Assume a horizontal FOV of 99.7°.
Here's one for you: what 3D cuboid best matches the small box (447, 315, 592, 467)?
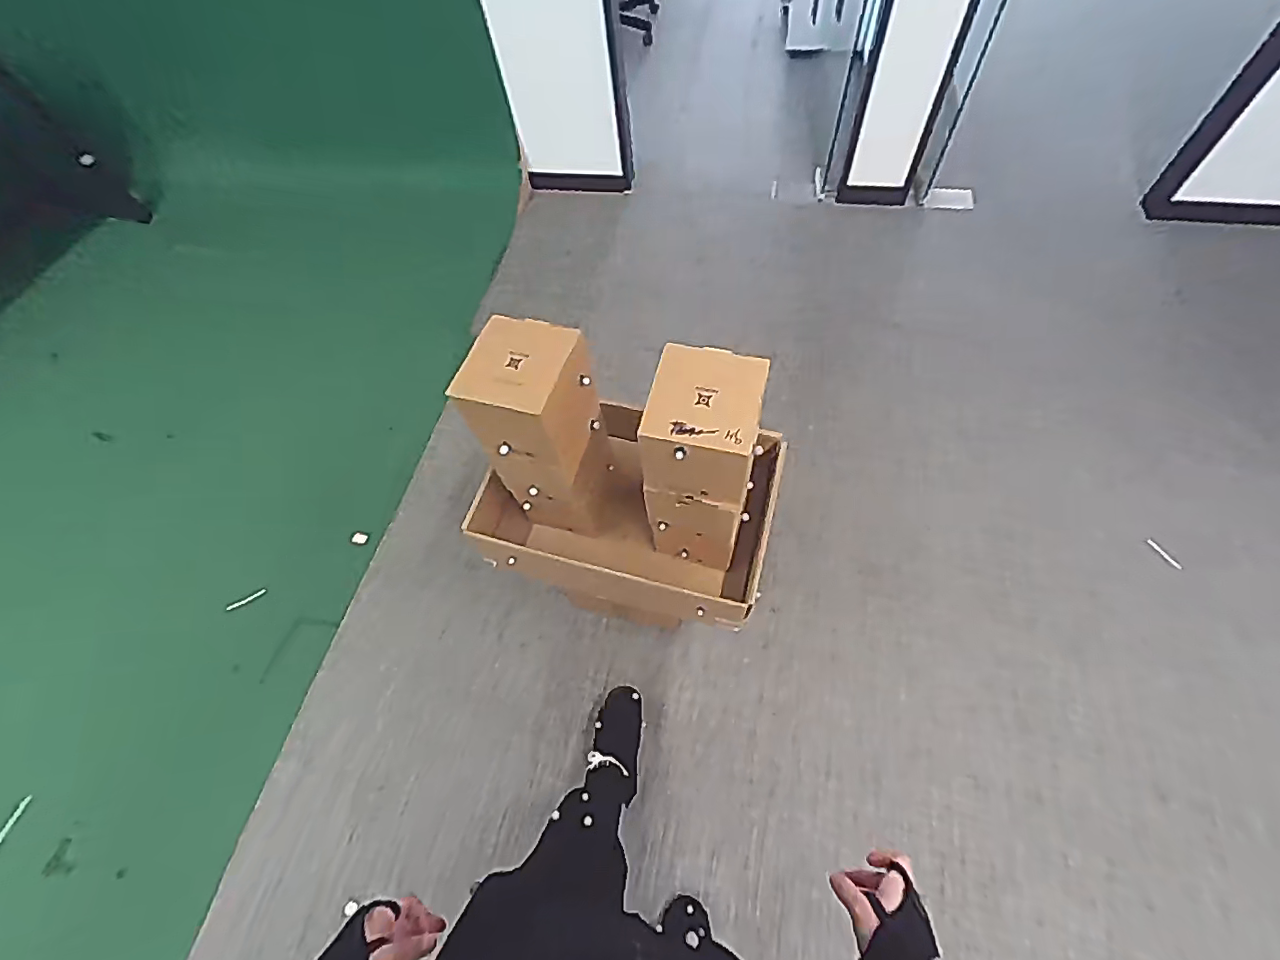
[{"bbox_3d":[-0.192,-0.149,0.926,0.168,0.176,0.179,13,64,14],"label":"small box"}]

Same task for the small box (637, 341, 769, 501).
[{"bbox_3d":[0.100,-0.090,0.863,0.168,0.176,0.179,11,64,11],"label":"small box"}]

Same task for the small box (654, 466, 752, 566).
[{"bbox_3d":[0.134,0.062,1.152,0.168,0.176,0.179,12,65,12],"label":"small box"}]

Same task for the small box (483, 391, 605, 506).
[{"bbox_3d":[-0.176,-0.074,1.069,0.168,0.176,0.179,14,64,14],"label":"small box"}]

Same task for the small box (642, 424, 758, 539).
[{"bbox_3d":[0.114,-0.009,1.005,0.168,0.176,0.179,14,65,12],"label":"small box"}]
